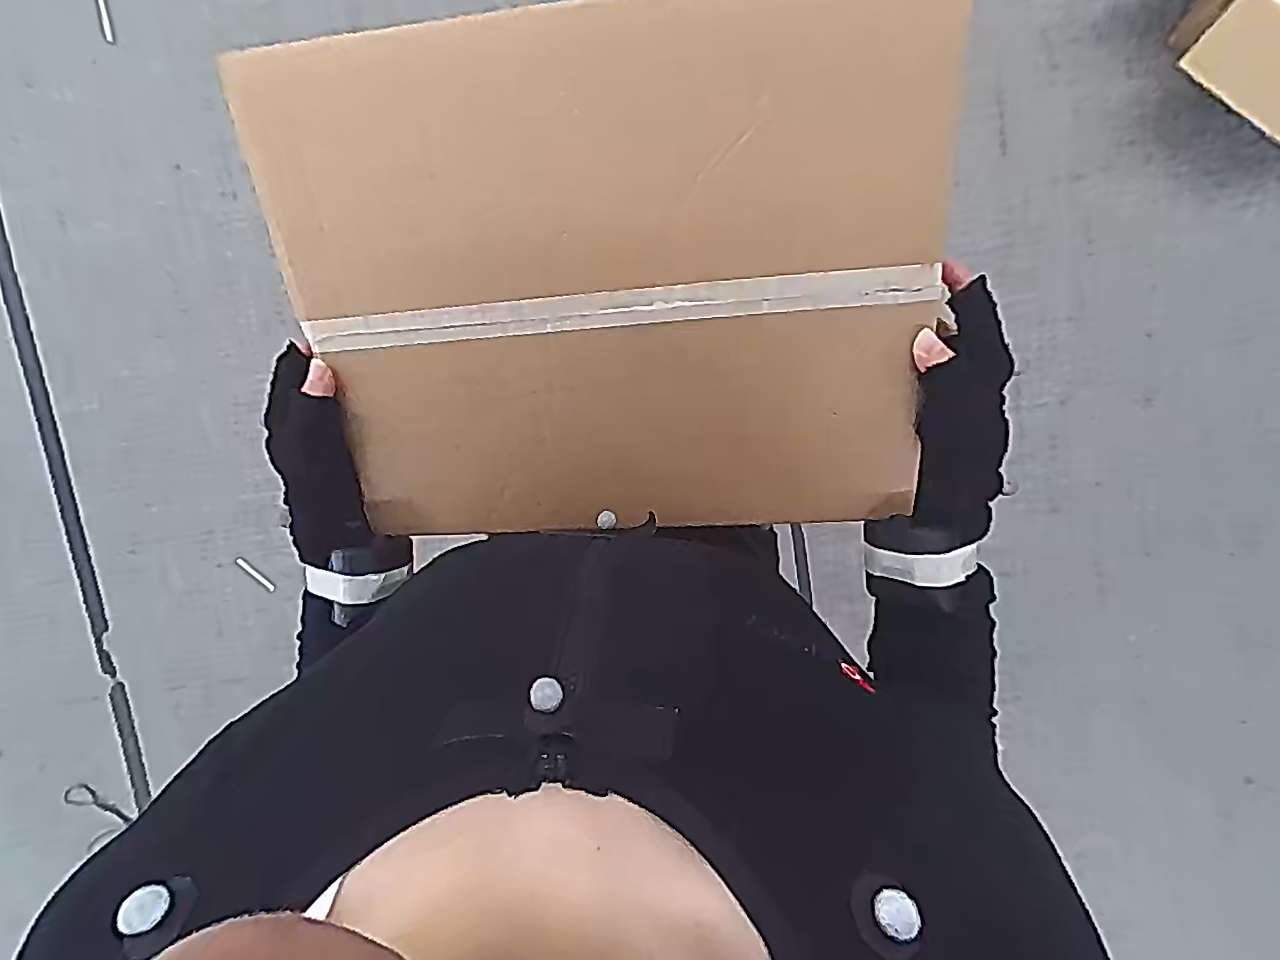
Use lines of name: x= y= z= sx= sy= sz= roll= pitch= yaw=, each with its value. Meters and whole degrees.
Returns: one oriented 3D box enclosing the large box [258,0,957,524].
large box: x=-0.008 y=-0.174 z=0.492 sx=0.408 sy=0.320 sz=0.320 roll=-2 pitch=115 yaw=7
